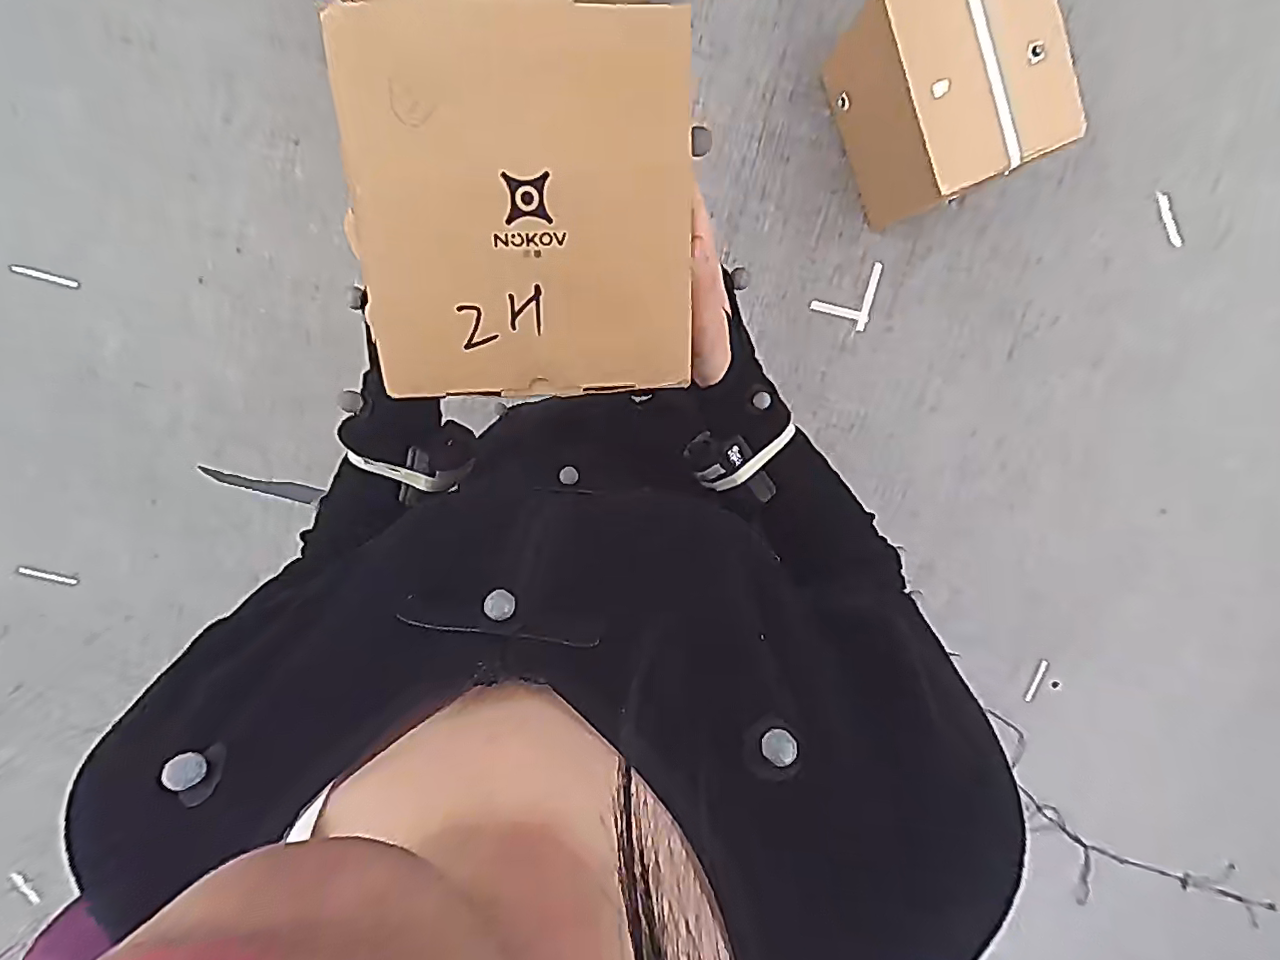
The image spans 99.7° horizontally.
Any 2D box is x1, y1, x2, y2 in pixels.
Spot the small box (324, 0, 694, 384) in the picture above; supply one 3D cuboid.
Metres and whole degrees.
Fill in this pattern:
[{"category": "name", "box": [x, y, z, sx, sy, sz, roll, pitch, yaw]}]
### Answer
[{"category": "small box", "box": [-0.062, -0.161, 0.341, 0.168, 0.176, 0.179, -3, 109, -4]}]
